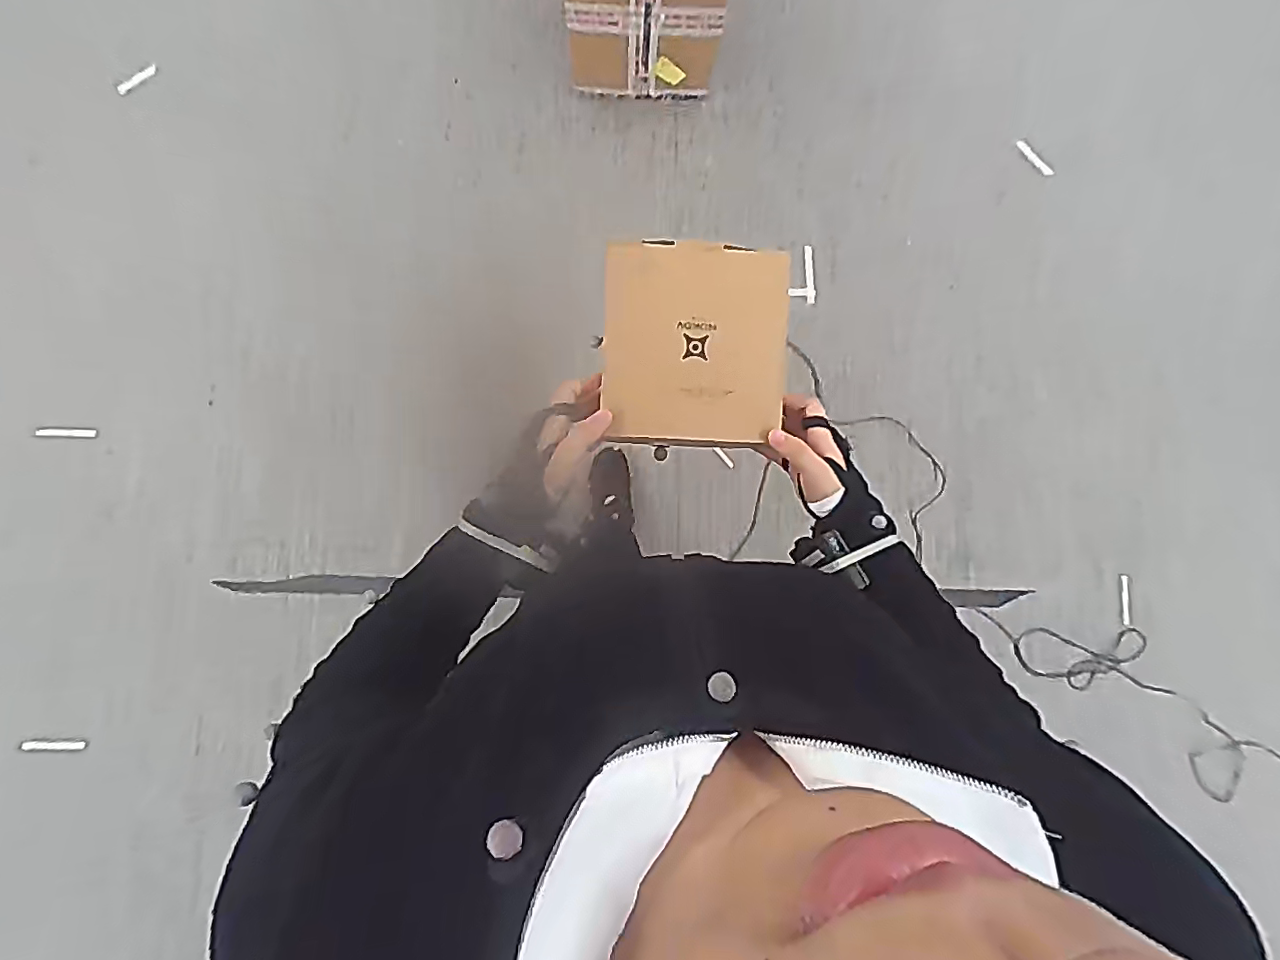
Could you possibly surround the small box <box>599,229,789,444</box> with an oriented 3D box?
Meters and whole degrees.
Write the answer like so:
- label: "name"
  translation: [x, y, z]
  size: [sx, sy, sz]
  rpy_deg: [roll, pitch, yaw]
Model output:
- label: "small box"
  translation: [0.044, -0.131, 0.557]
  size: [0.168, 0.176, 0.179]
  rpy_deg: [2, 92, -3]
